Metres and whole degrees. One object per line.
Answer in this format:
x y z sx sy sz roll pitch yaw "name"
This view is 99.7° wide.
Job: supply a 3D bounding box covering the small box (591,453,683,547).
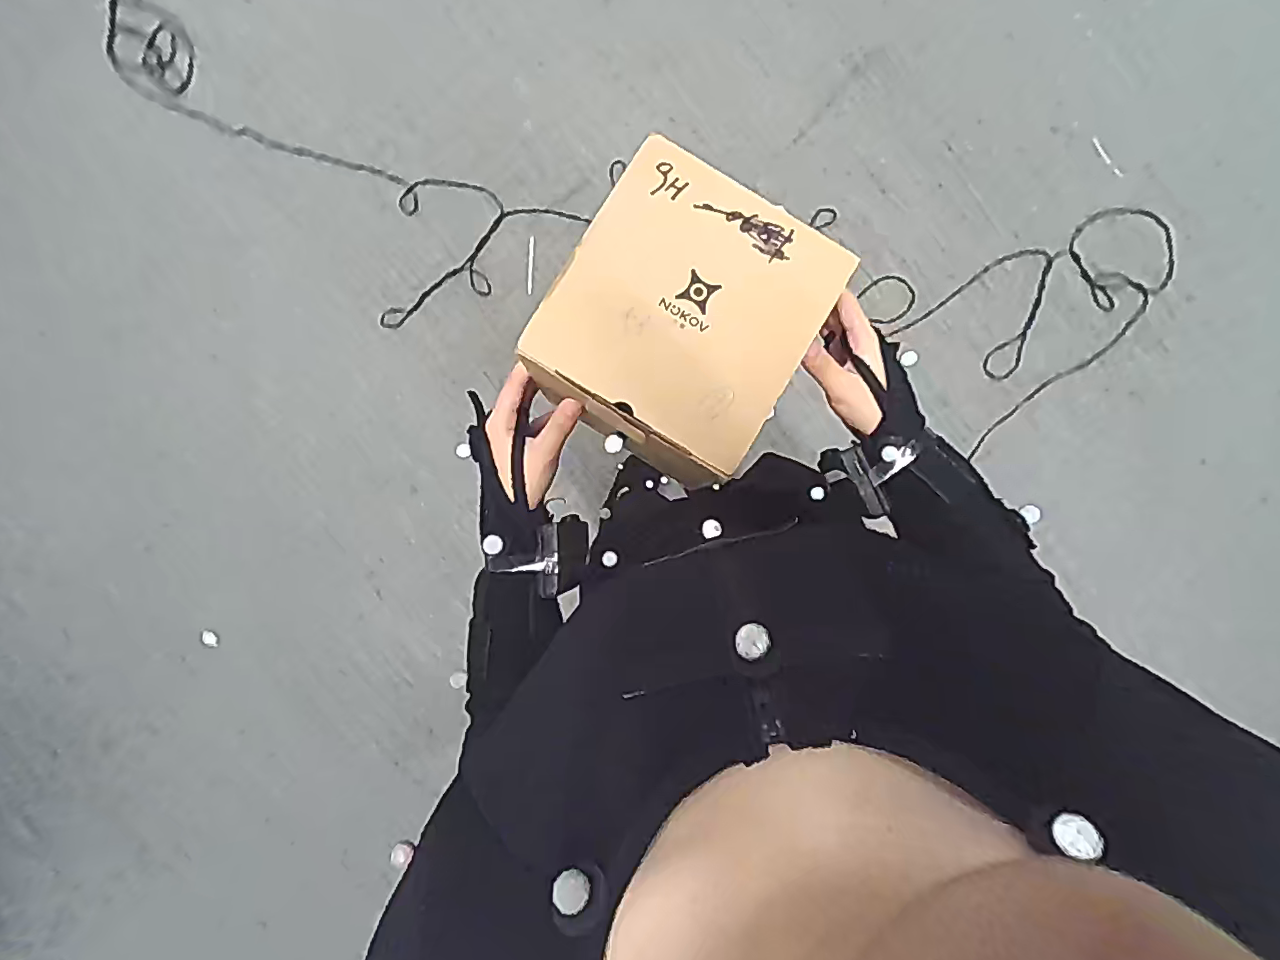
-0.006 0.050 1.314 0.168 0.176 0.179 -29 82 3 "small box"
